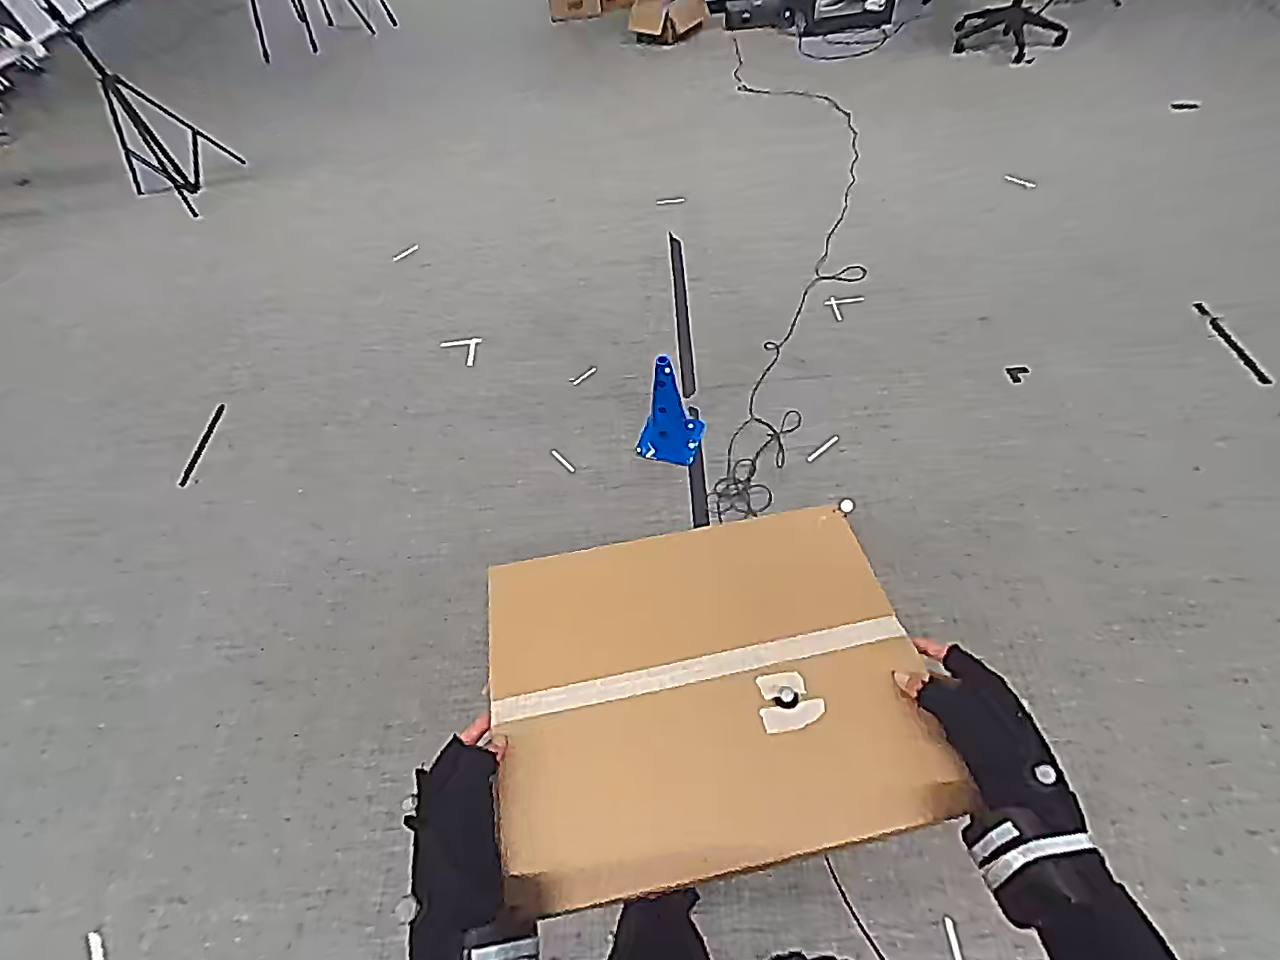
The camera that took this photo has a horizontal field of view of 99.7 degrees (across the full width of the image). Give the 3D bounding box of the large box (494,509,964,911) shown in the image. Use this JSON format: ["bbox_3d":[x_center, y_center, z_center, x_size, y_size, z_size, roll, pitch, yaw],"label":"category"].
[{"bbox_3d":[0.064,0.279,0.652,0.408,0.320,0.320,-10,52,-5],"label":"large box"}]

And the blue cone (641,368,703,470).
[{"bbox_3d":[0.091,-0.215,1.714,0.193,0.380,0.192,13,59,17],"label":"blue cone"}]
